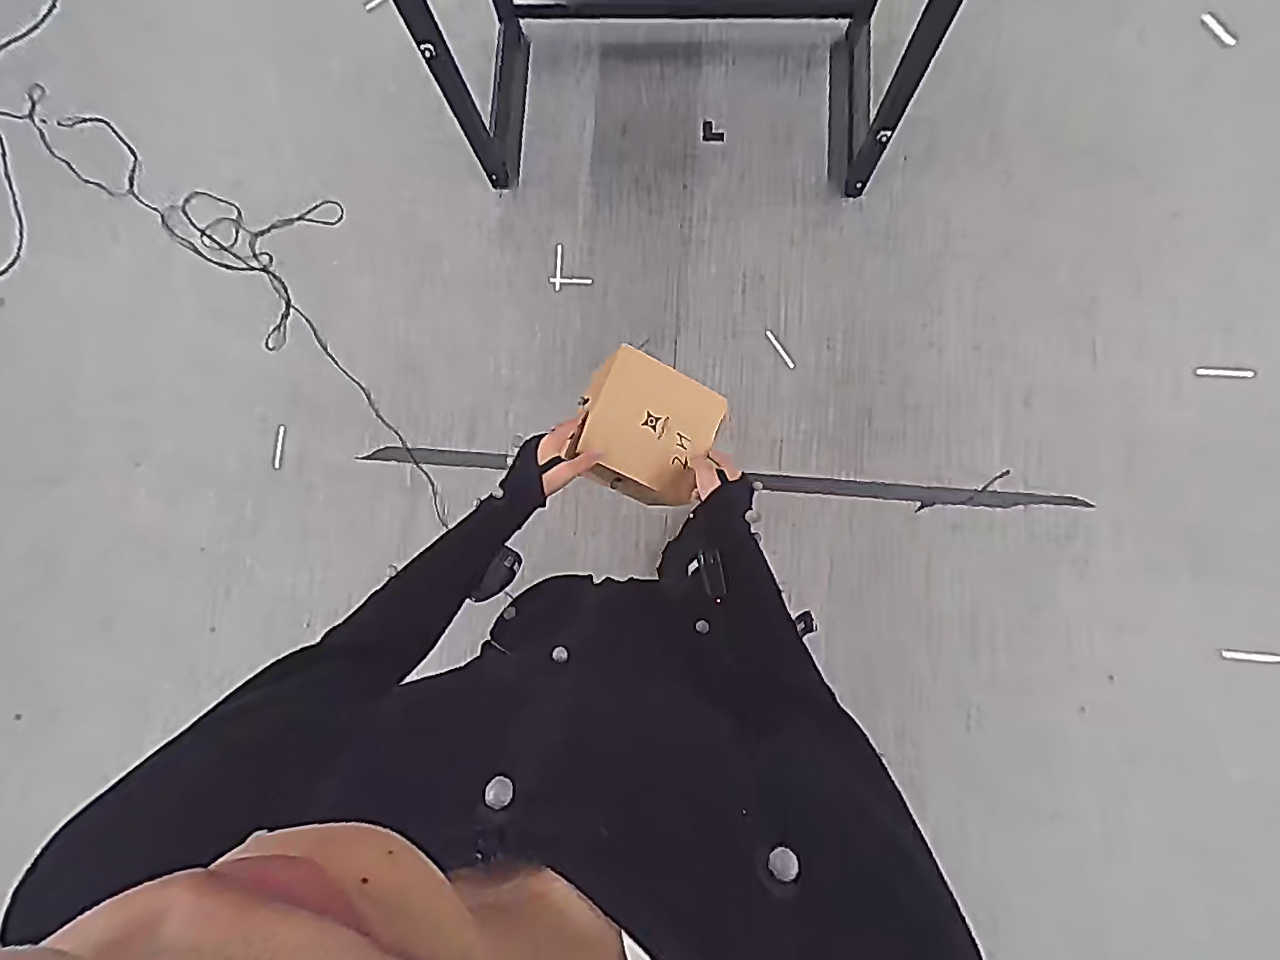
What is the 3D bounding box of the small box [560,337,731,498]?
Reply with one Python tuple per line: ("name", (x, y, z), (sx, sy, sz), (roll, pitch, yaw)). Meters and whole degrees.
("small box", (-0.002, -0.079, 0.802), (0.179, 0.176, 0.168), (26, 81, -16))
